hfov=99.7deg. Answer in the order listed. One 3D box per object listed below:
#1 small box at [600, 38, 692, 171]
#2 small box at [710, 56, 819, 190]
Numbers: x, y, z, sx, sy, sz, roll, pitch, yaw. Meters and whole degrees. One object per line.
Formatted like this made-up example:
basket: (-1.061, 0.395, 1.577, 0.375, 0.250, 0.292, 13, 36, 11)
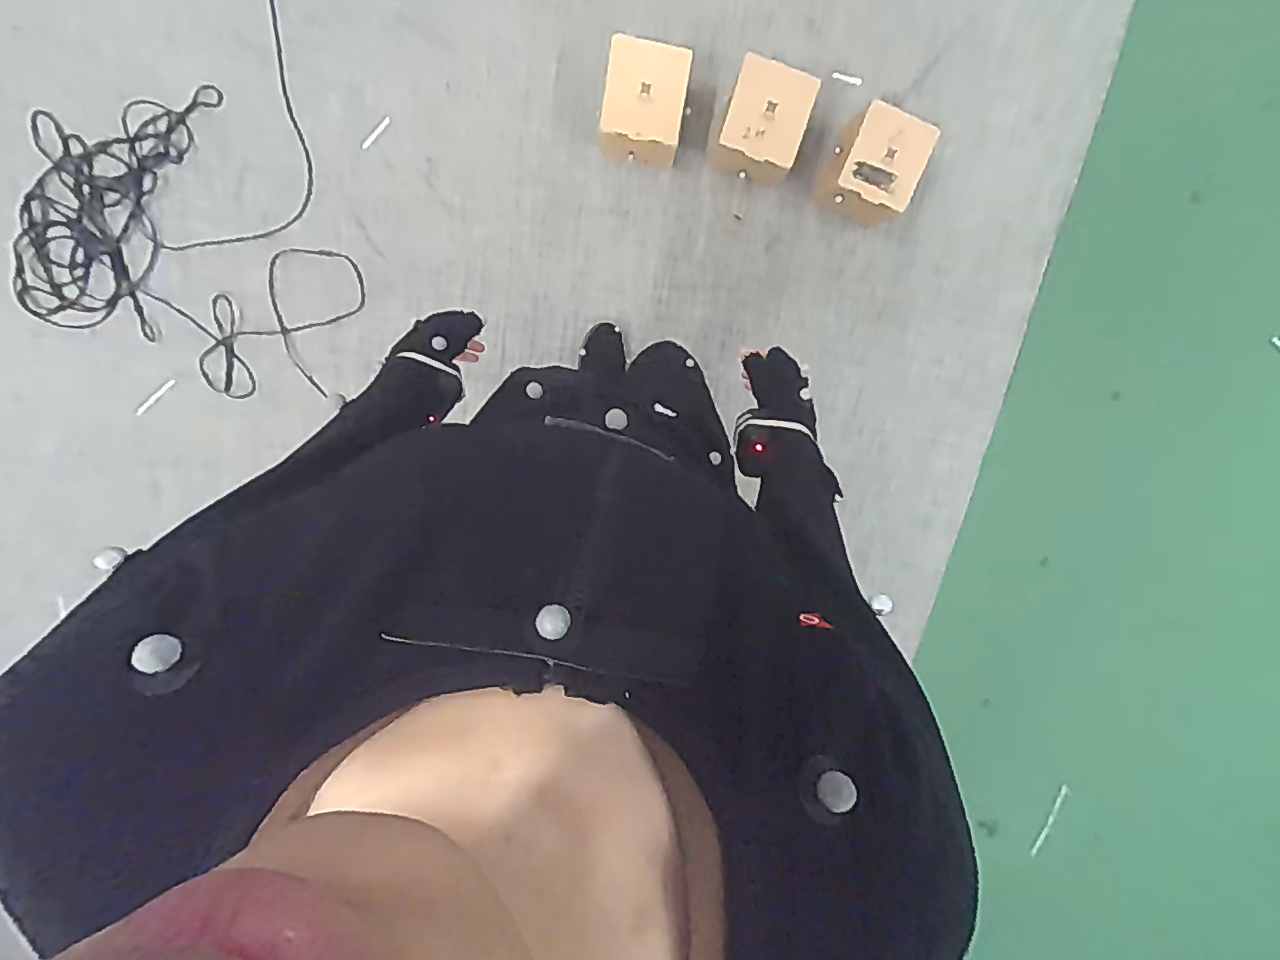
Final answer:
small box: (0.008, -0.806, 1.179, 0.168, 0.176, 0.179, 9, 106, -4)
small box: (0.263, -0.773, 1.191, 0.168, 0.176, 0.179, 17, 105, -5)
